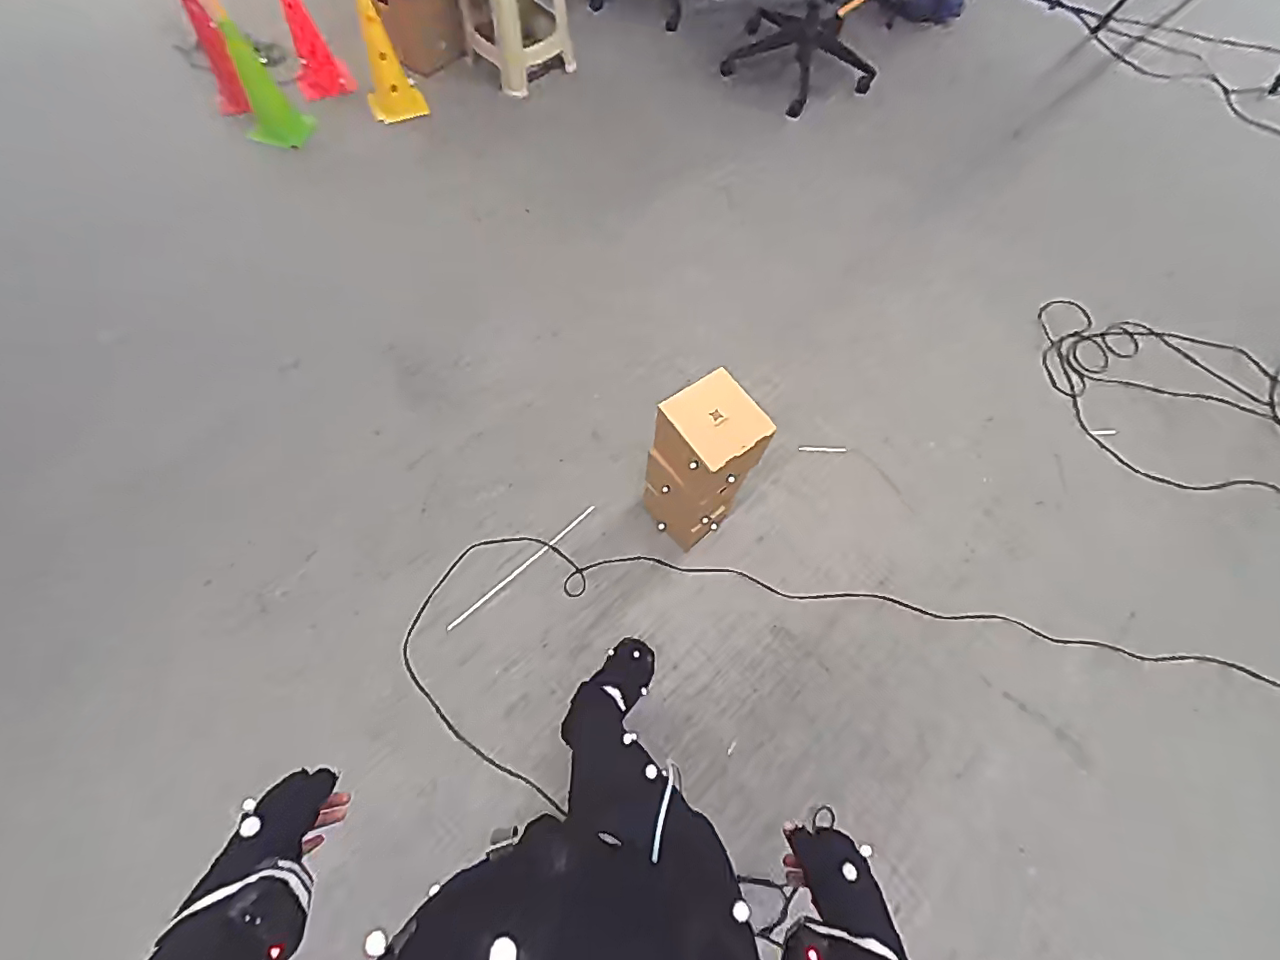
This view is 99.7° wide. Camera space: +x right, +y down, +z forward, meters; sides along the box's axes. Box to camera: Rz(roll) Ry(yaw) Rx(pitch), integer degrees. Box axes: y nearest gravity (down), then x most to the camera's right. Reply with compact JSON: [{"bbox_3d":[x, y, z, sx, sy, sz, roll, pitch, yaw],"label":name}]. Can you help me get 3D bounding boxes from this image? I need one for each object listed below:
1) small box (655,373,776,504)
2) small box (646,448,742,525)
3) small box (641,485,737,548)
[{"bbox_3d":[0.145,-0.080,1.119,0.168,0.176,0.179,-33,73,-15],"label":"small box"},{"bbox_3d":[0.130,-0.013,1.266,0.168,0.176,0.179,-38,73,-17],"label":"small box"},{"bbox_3d":[0.122,0.059,1.416,0.168,0.176,0.179,-40,76,-21],"label":"small box"}]
